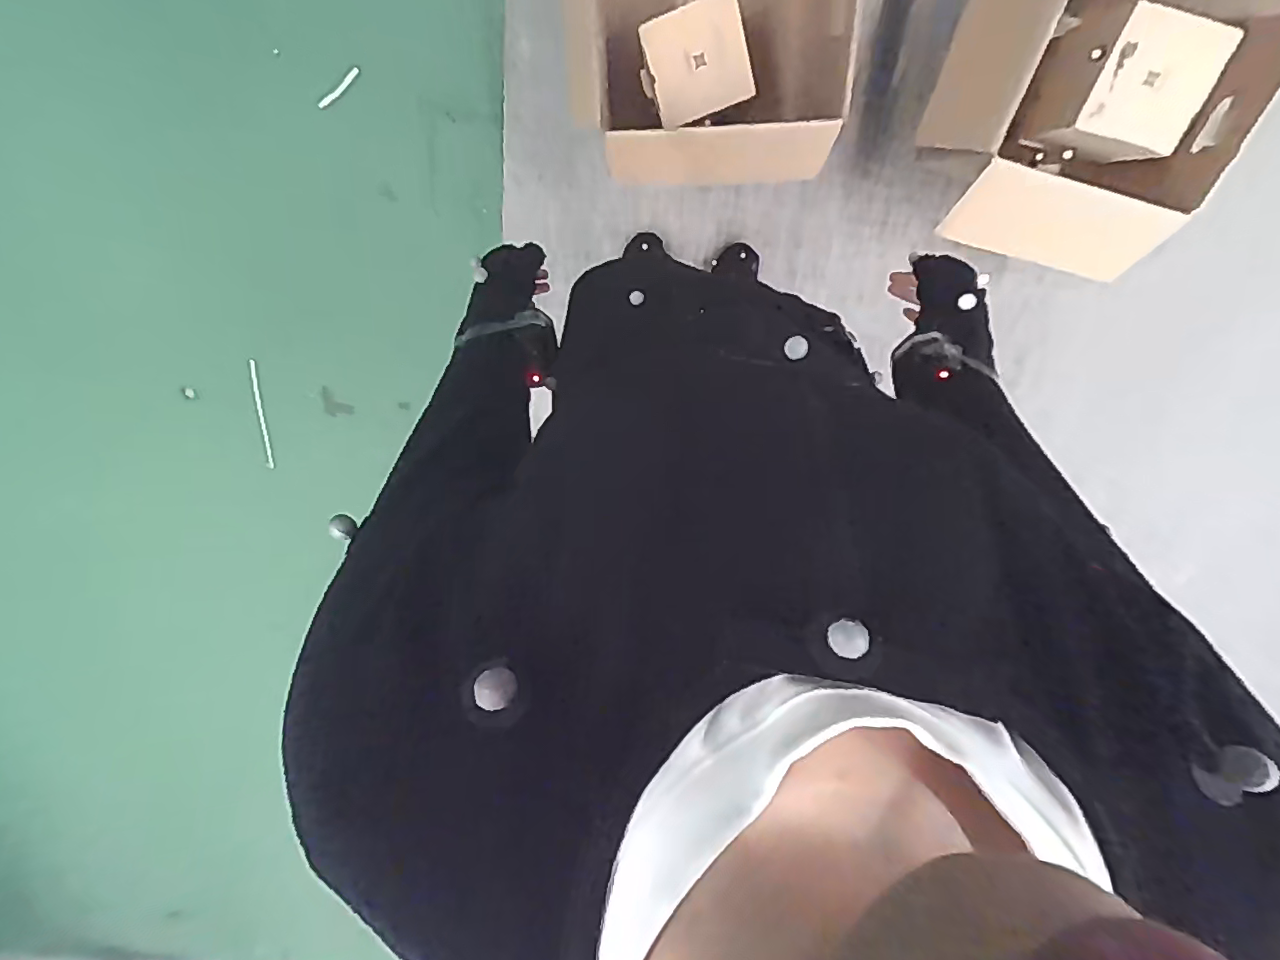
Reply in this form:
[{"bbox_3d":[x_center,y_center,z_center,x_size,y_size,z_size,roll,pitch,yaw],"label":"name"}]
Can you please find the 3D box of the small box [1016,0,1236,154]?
[{"bbox_3d":[0.798,-0.663,0.911,0.179,0.176,0.168,12,116,-5],"label":"small box"}]
